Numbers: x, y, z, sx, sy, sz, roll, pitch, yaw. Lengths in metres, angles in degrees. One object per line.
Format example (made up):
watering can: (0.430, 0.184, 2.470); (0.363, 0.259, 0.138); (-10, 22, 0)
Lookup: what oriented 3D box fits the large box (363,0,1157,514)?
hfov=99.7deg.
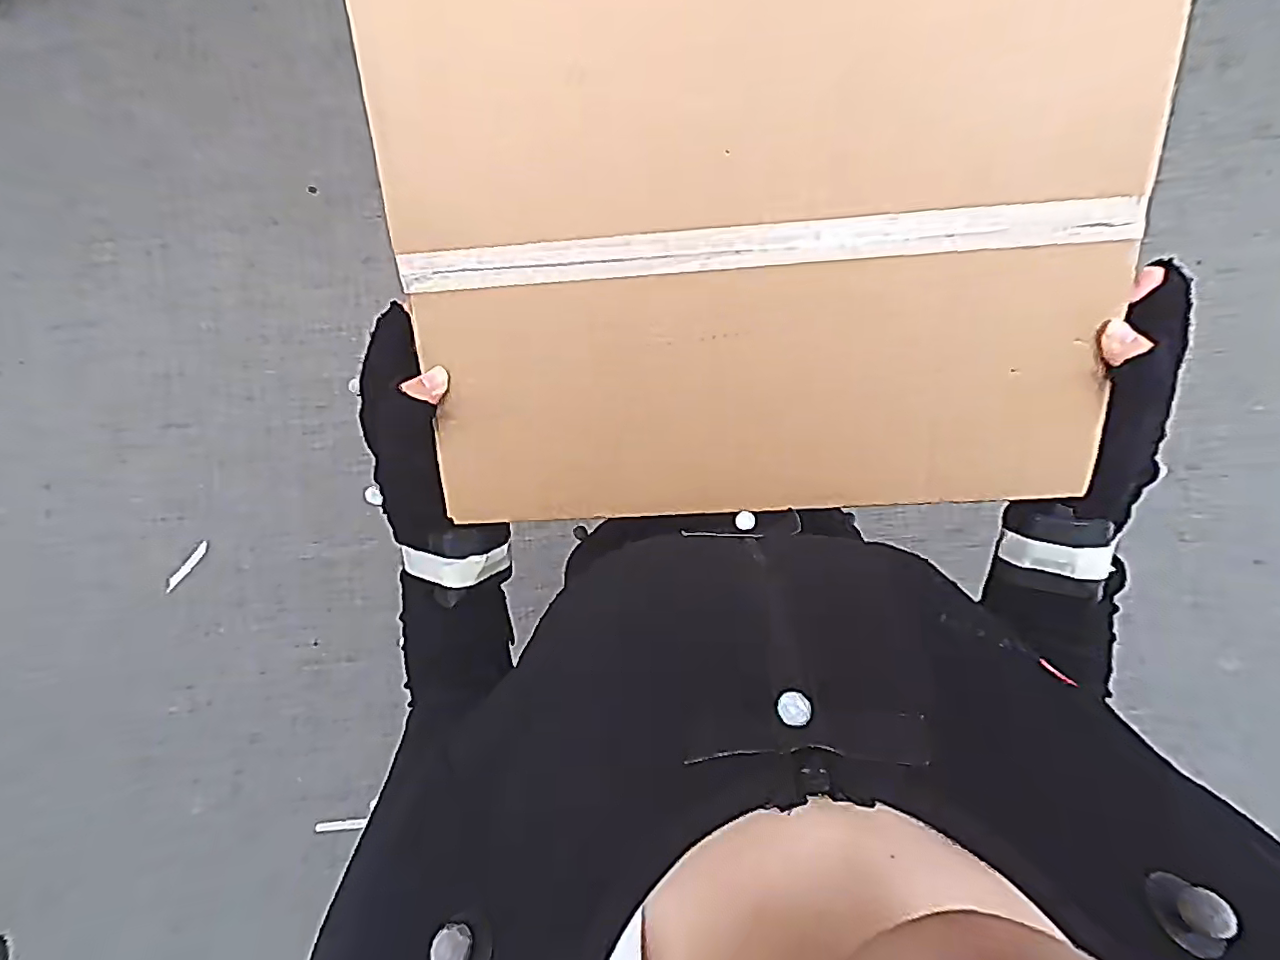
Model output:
large box: (0.068, -0.180, 0.450); (0.408, 0.320, 0.320); (-3, 110, 3)
